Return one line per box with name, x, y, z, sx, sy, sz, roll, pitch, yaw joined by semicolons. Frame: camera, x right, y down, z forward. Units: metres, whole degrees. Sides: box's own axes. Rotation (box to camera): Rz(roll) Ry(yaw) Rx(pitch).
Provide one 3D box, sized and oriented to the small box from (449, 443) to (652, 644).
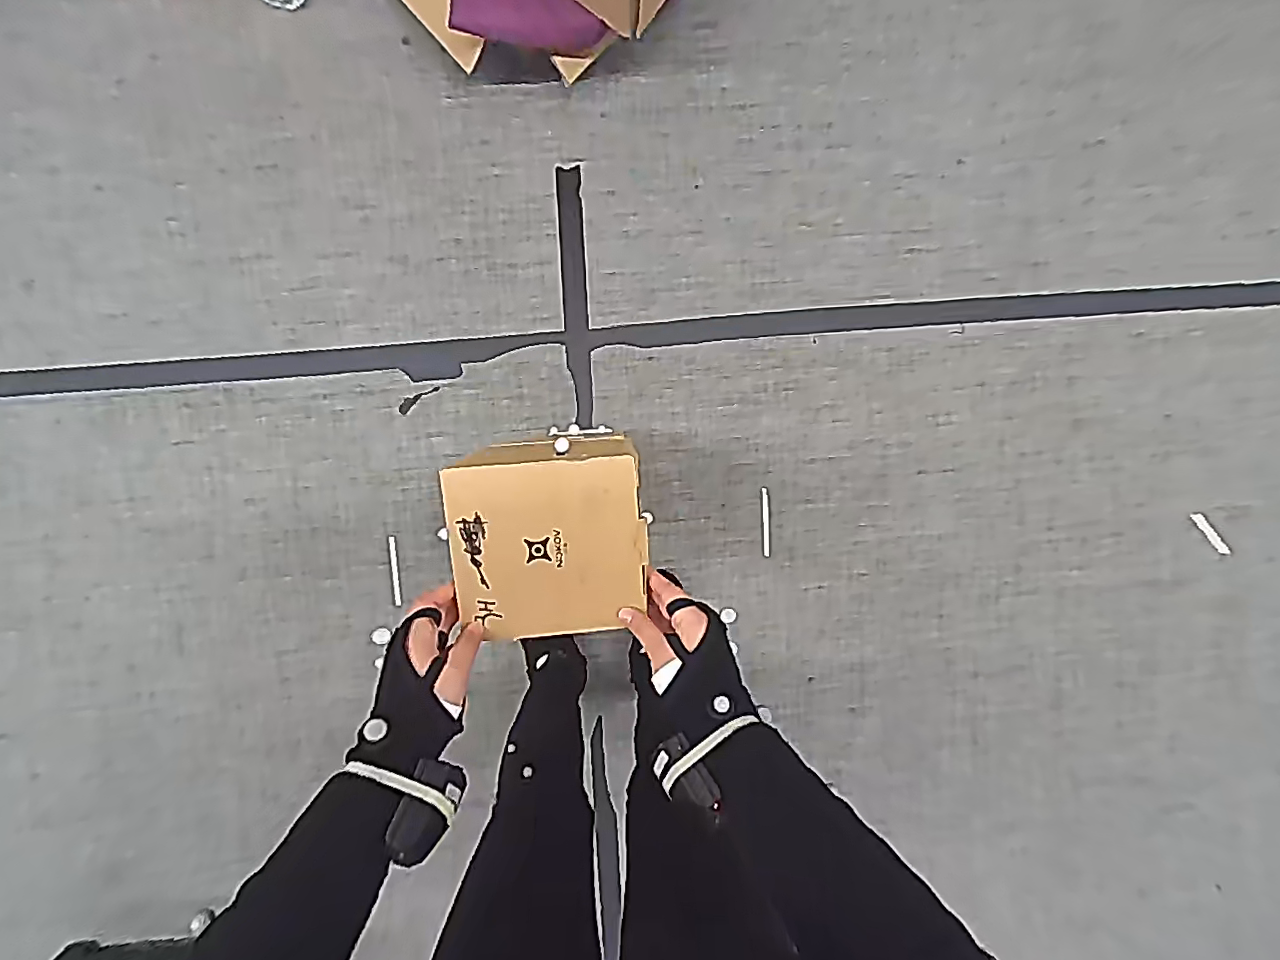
small box;-0.086;0.053;0.572;0.179;0.176;0.168;-4;99;-4
